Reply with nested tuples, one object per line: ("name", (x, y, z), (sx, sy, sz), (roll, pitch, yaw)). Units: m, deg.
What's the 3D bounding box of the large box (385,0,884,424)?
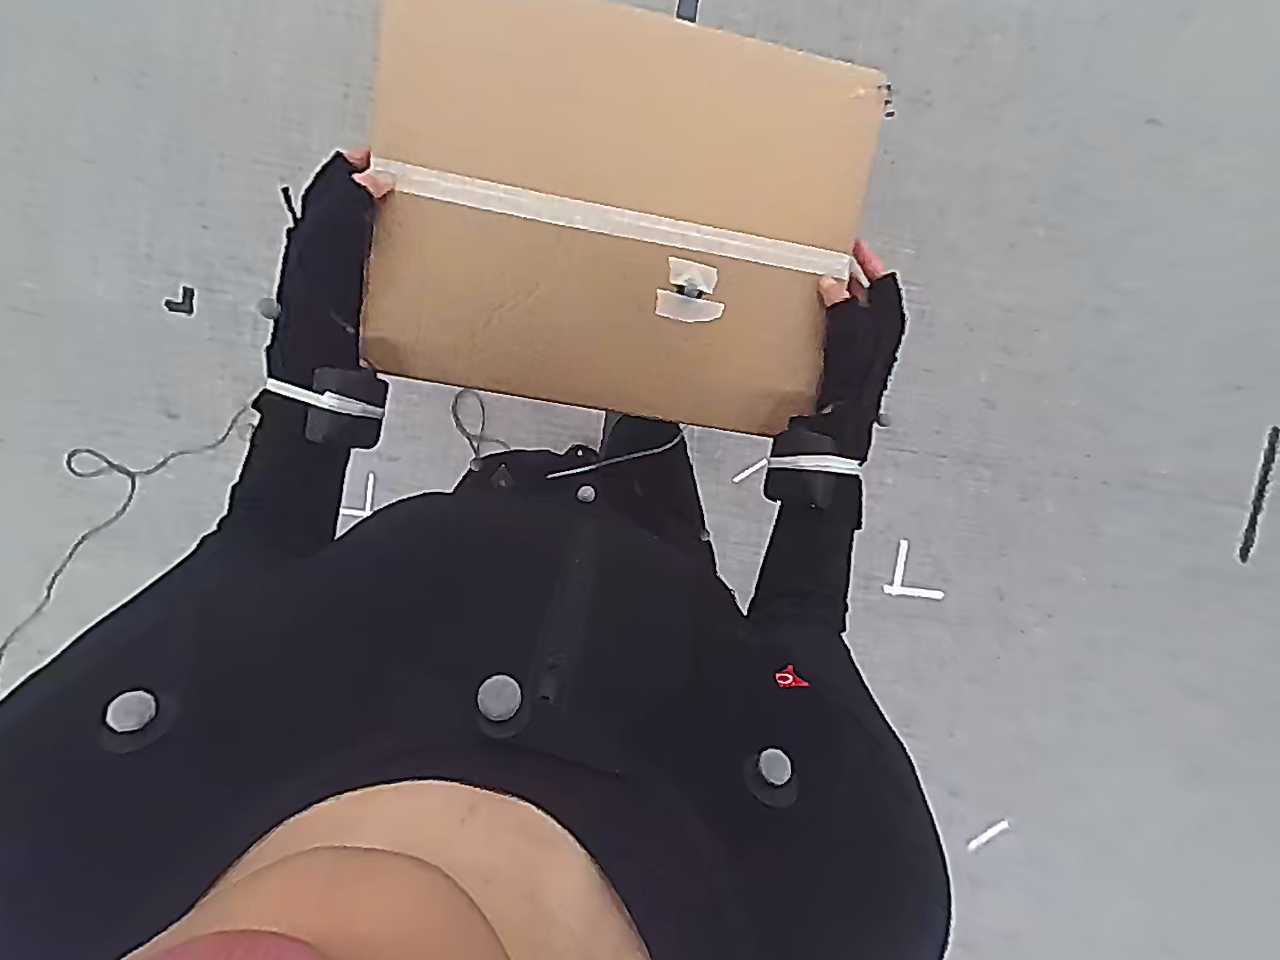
("large box", (-0.023, -0.257, 0.612), (0.408, 0.320, 0.320), (9, 102, -8))
